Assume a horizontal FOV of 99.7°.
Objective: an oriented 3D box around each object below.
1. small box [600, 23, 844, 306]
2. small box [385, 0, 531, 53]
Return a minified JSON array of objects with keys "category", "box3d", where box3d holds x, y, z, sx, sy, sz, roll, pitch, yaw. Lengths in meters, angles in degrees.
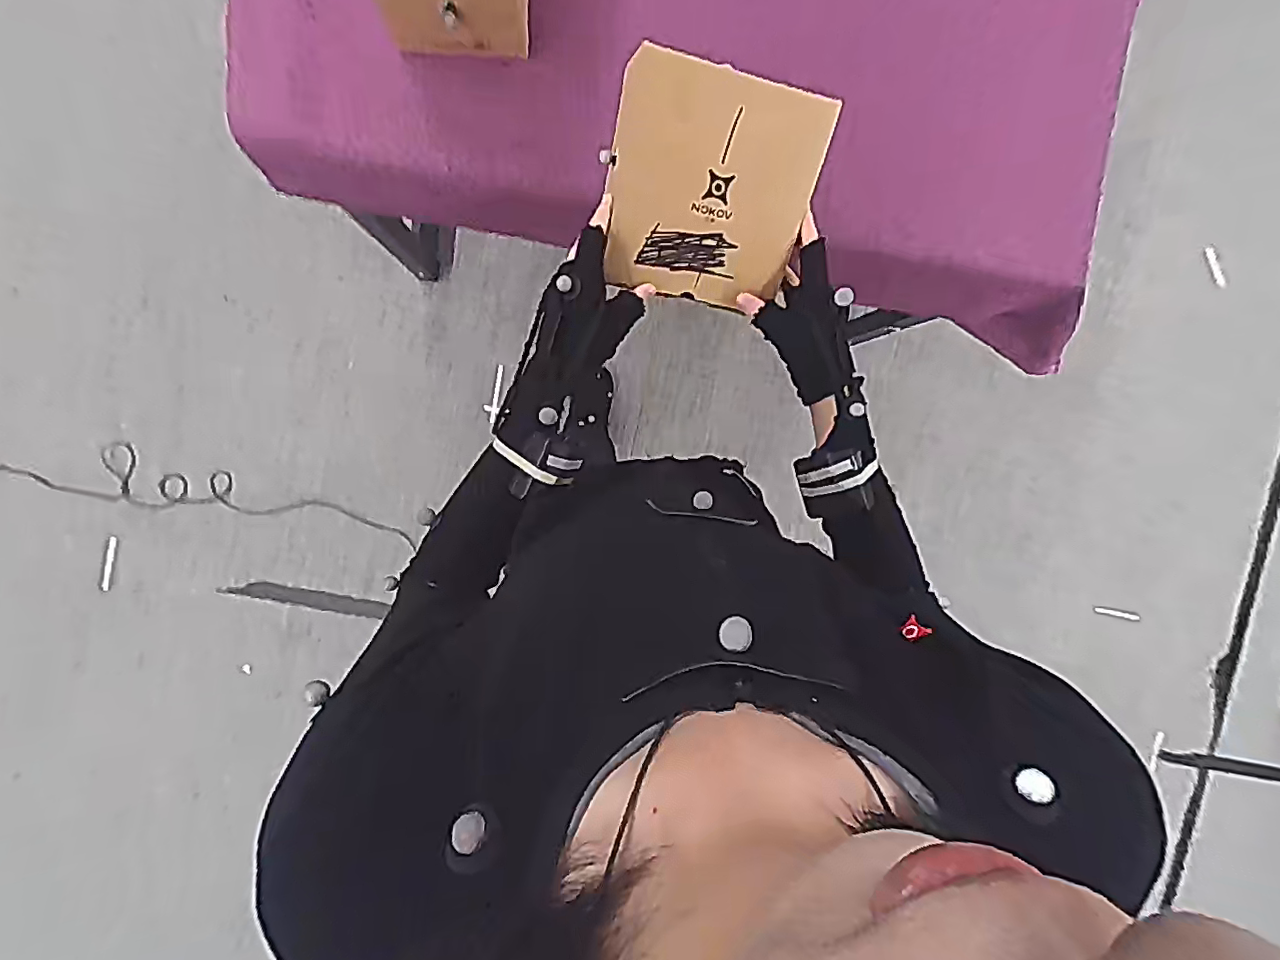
[{"category":"small box","box3d":[0.058,-0.290,0.518,0.168,0.176,0.179,8,120,-12]},{"category":"small box","box3d":[-0.215,-0.633,0.615,0.168,0.176,0.179,-1,95,-6]}]
